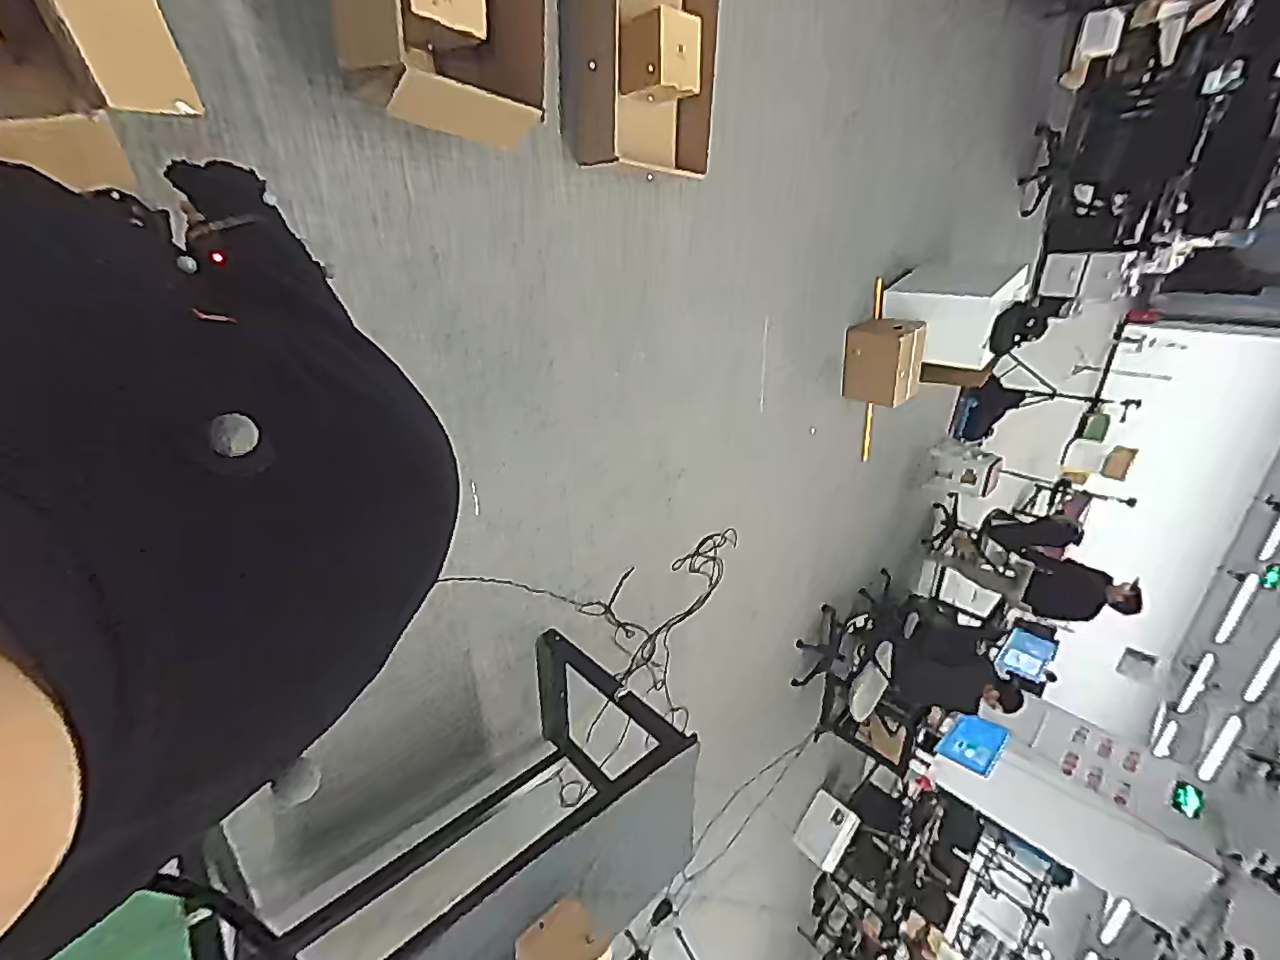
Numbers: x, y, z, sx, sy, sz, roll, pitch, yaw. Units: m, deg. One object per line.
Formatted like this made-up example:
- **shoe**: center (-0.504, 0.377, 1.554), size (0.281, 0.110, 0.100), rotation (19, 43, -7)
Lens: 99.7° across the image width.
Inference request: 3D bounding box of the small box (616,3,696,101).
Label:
- **small box**: center (0.043, -1.216, 1.549), size (0.168, 0.176, 0.179), rotation (-23, 123, -38)
